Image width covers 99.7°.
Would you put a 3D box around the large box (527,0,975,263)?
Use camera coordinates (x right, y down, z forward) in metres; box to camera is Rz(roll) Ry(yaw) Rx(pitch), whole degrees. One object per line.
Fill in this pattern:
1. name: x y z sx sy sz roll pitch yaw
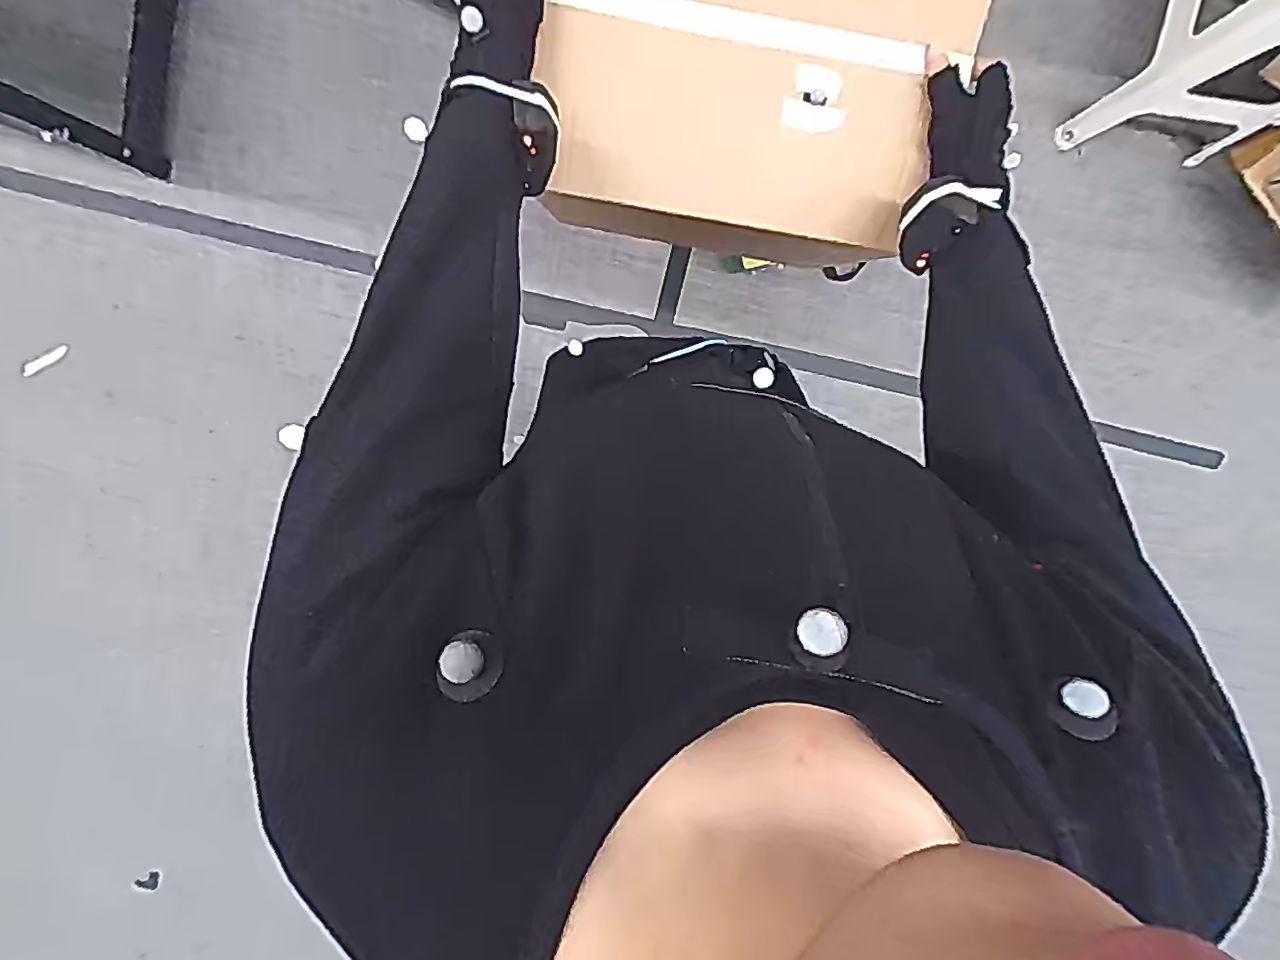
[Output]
1. large box: 0.096 -0.457 0.644 0.408 0.320 0.320 8 110 -5
